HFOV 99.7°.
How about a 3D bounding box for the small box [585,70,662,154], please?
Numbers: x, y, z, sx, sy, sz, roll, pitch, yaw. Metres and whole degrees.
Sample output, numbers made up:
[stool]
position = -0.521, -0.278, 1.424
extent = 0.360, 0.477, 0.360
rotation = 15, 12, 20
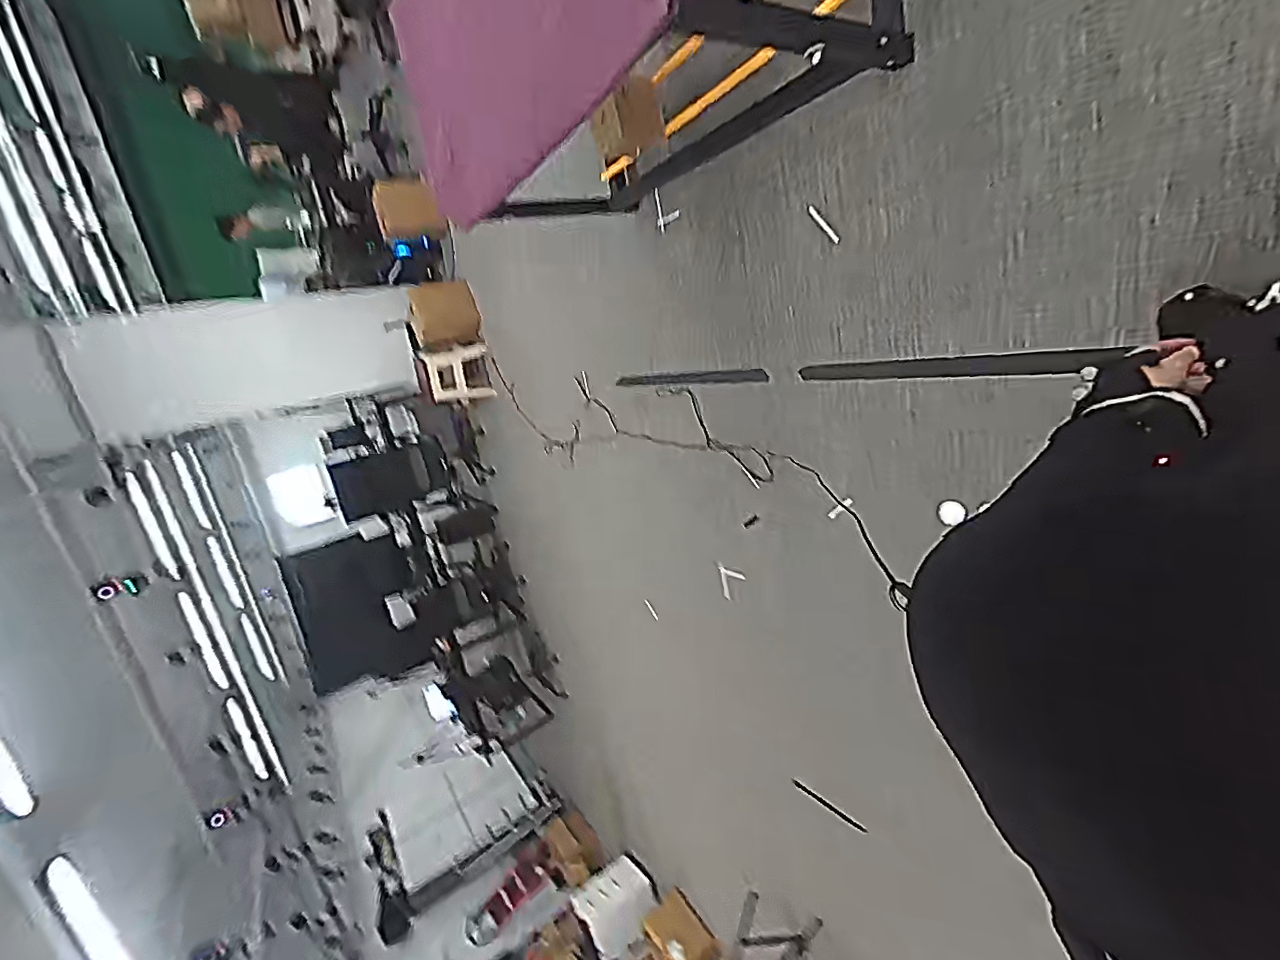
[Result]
[small box]
position = -0.052, -1.186, 1.754
extent = 0.168, 0.176, 0.179
rotation = 7, 115, 57
